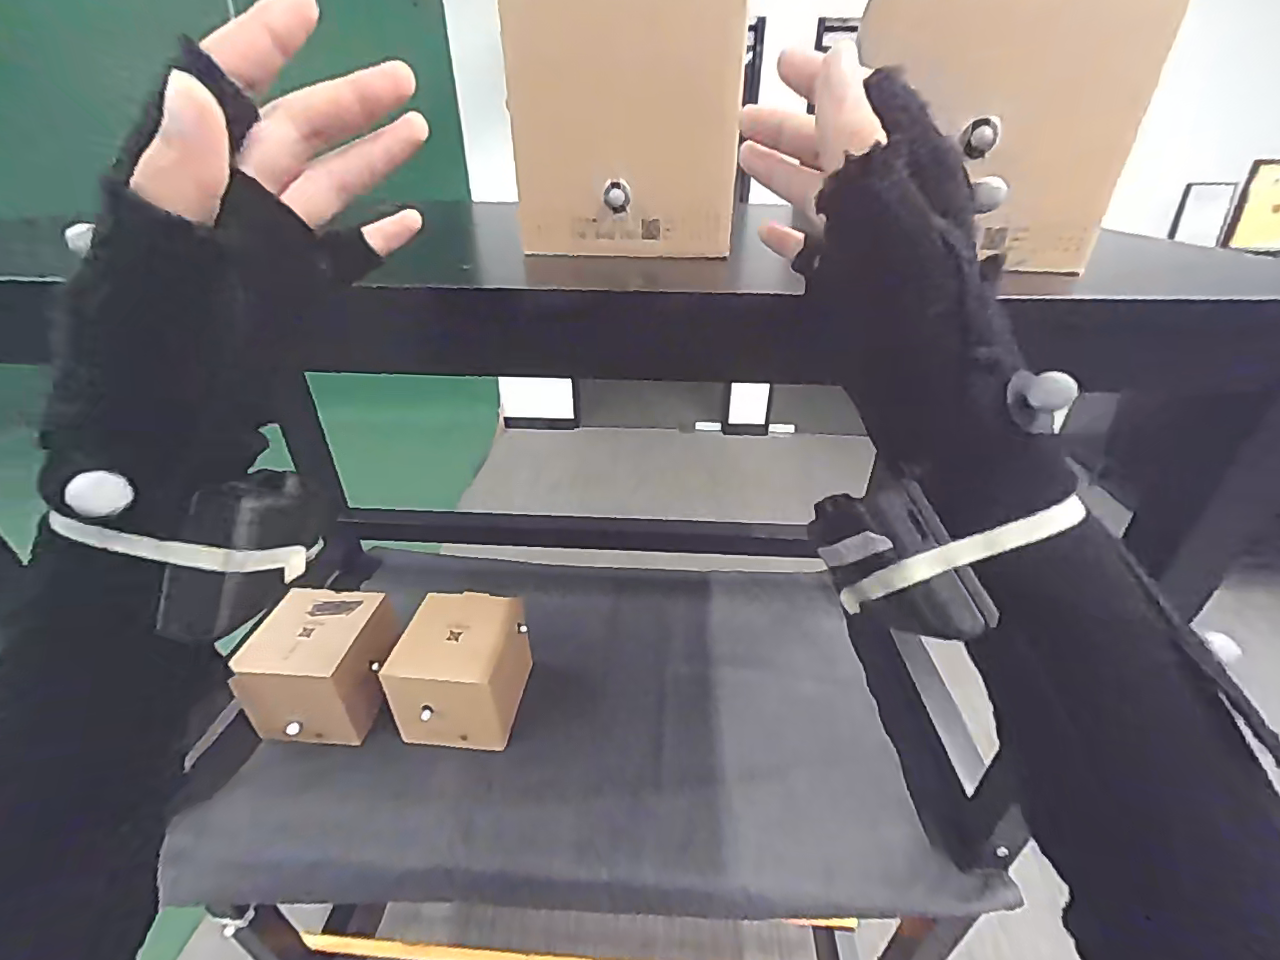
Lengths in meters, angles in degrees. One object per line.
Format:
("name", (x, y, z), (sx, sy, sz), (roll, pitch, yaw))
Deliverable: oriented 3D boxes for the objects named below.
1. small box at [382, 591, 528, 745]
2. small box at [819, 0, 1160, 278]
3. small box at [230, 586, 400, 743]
("small box", (-0.288, 0.308, 0.891), (0.168, 0.176, 0.179), (3, 31, 4))
("small box", (0.241, -0.262, 0.425), (0.168, 0.176, 0.179), (8, 32, 12))
("small box", (-0.516, 0.301, 0.895), (0.168, 0.176, 0.179), (2, 32, 3))
